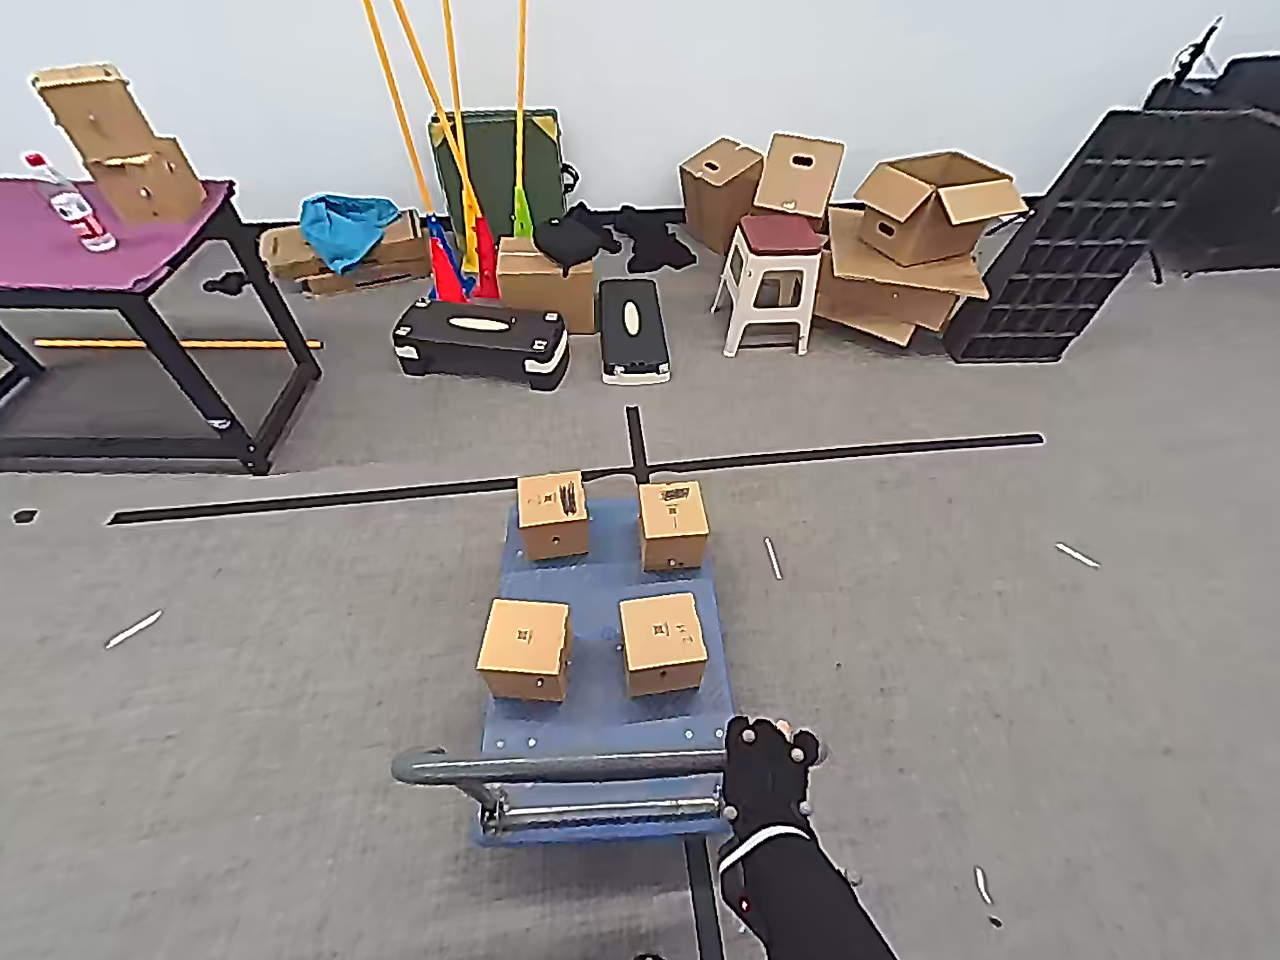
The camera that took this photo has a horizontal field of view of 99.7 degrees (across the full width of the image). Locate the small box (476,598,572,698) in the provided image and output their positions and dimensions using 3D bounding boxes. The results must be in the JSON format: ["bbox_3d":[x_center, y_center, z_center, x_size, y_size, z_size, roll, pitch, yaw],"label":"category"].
[{"bbox_3d":[-0.257,0.390,1.245,0.179,0.176,0.168,4,50,0],"label":"small box"}]

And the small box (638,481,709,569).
[{"bbox_3d":[0.084,0.123,1.477,0.168,0.176,0.179,-4,52,-5],"label":"small box"}]

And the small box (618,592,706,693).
[{"bbox_3d":[0.046,0.383,1.262,0.179,0.176,0.168,-5,51,-6],"label":"small box"}]
